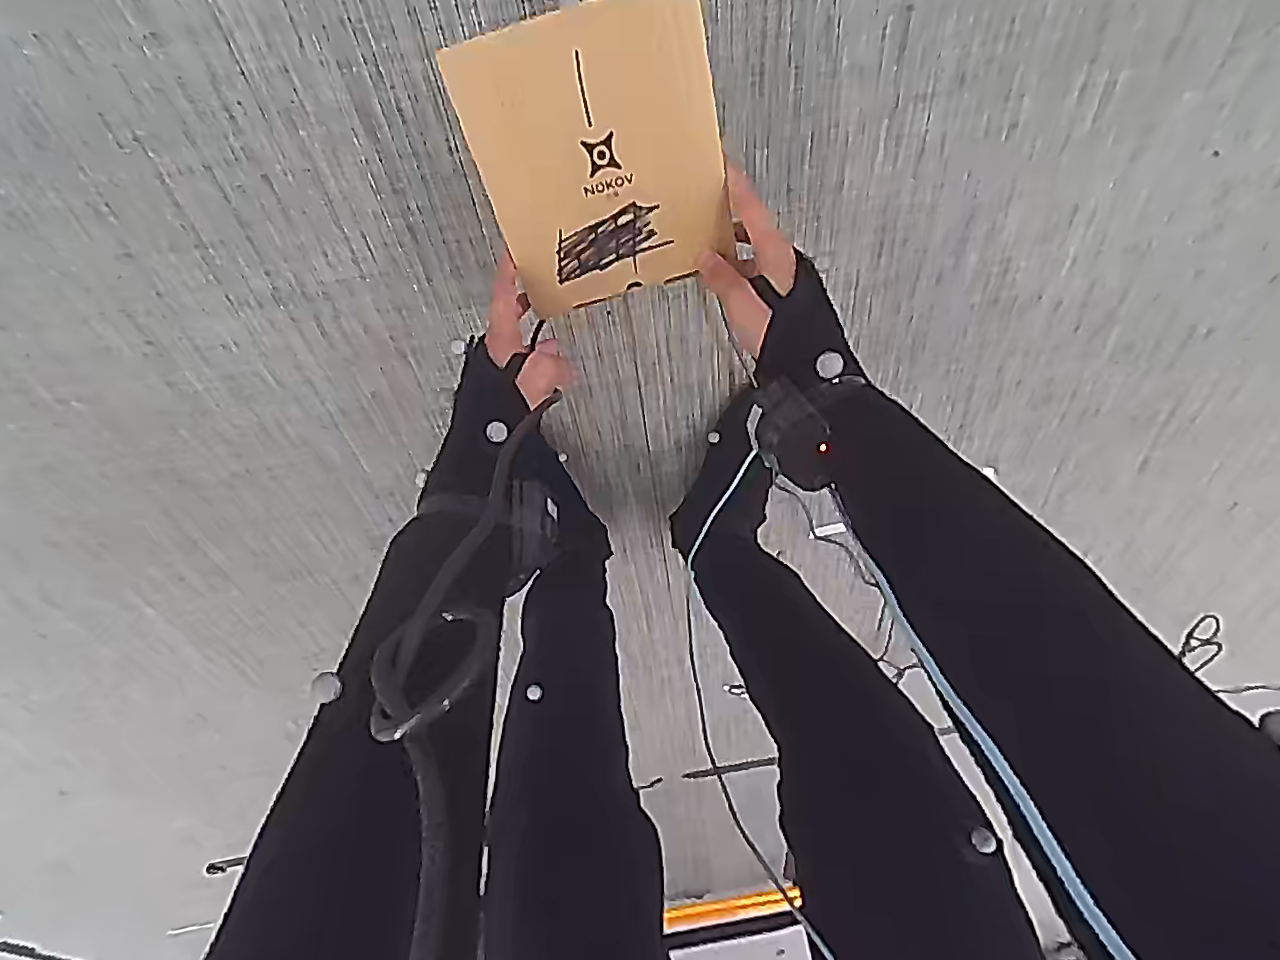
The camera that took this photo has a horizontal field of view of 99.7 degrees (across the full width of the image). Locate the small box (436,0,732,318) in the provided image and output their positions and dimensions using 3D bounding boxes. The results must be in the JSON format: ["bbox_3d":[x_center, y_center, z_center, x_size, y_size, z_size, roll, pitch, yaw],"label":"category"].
[{"bbox_3d":[-0.033,-0.260,0.436,0.168,0.176,0.179,-15,125,4],"label":"small box"}]
